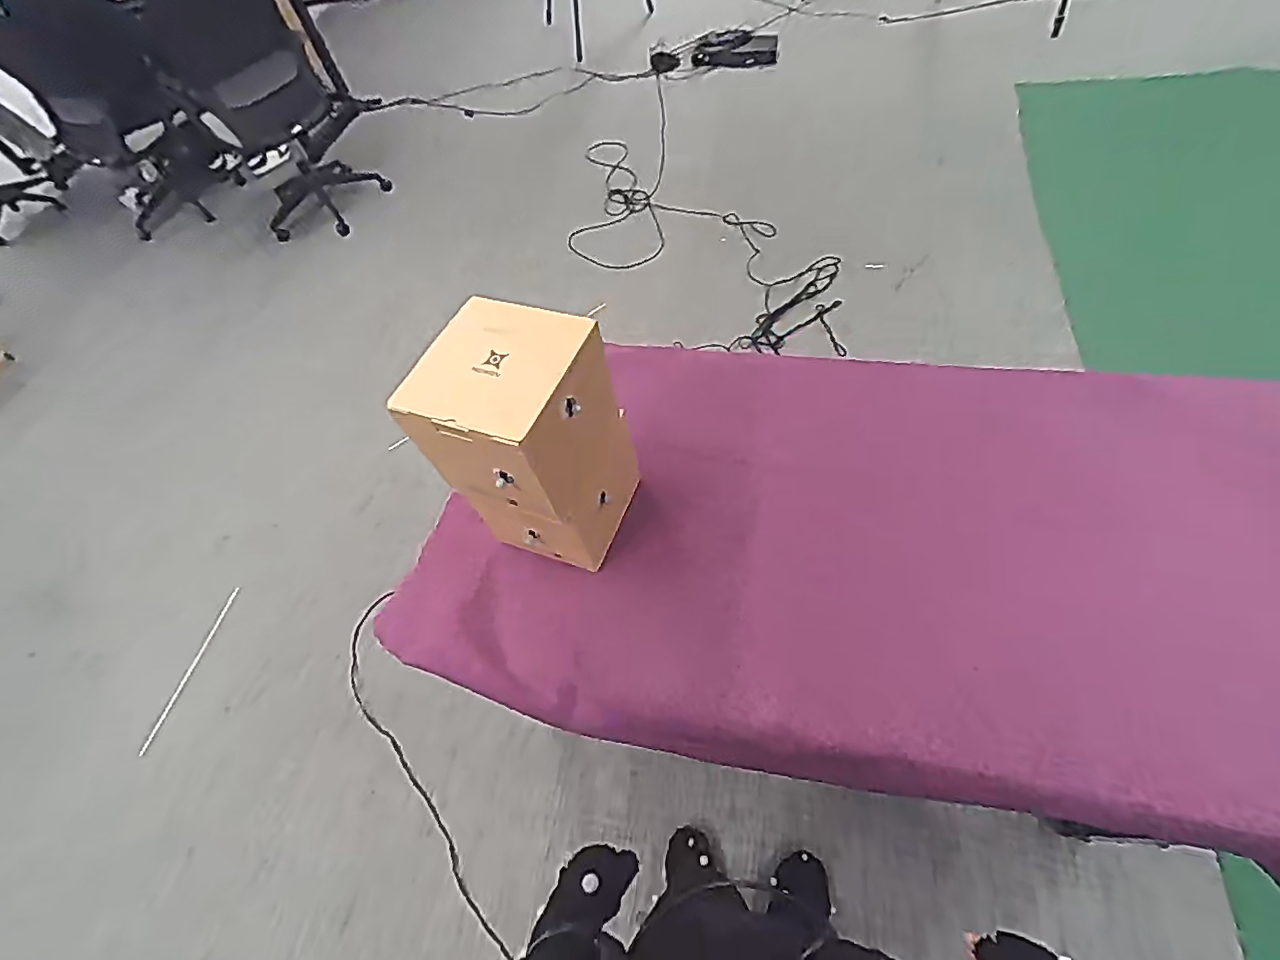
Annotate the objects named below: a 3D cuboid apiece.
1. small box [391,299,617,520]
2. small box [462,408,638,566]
[{"bbox_3d":[-0.139,-0.078,0.632,0.168,0.176,0.179,16,61,18],"label":"small box"},{"bbox_3d":[-0.113,0.001,0.773,0.168,0.176,0.179,15,62,18],"label":"small box"}]
